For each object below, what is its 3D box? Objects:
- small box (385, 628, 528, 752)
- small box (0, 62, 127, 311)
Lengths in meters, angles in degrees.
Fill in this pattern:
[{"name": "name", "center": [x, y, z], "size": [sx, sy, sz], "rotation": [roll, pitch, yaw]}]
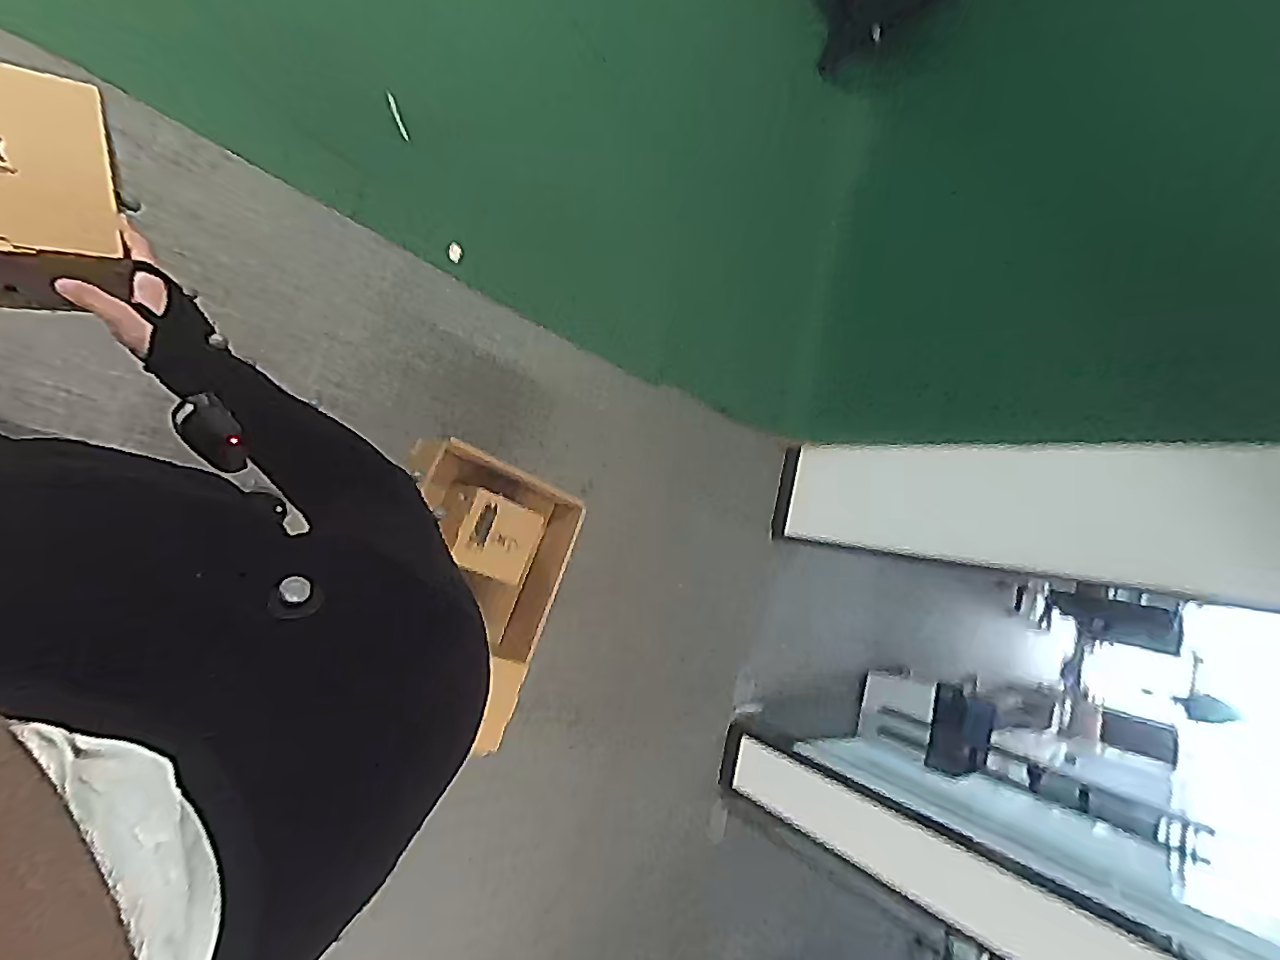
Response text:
[{"name": "small box", "center": [-0.355, 0.399, 1.043], "size": [0.179, 0.176, 0.168], "rotation": [31, 72, -36]}, {"name": "small box", "center": [-0.640, -0.285, 0.538], "size": [0.168, 0.176, 0.179], "rotation": [-10, 93, -40]}]
